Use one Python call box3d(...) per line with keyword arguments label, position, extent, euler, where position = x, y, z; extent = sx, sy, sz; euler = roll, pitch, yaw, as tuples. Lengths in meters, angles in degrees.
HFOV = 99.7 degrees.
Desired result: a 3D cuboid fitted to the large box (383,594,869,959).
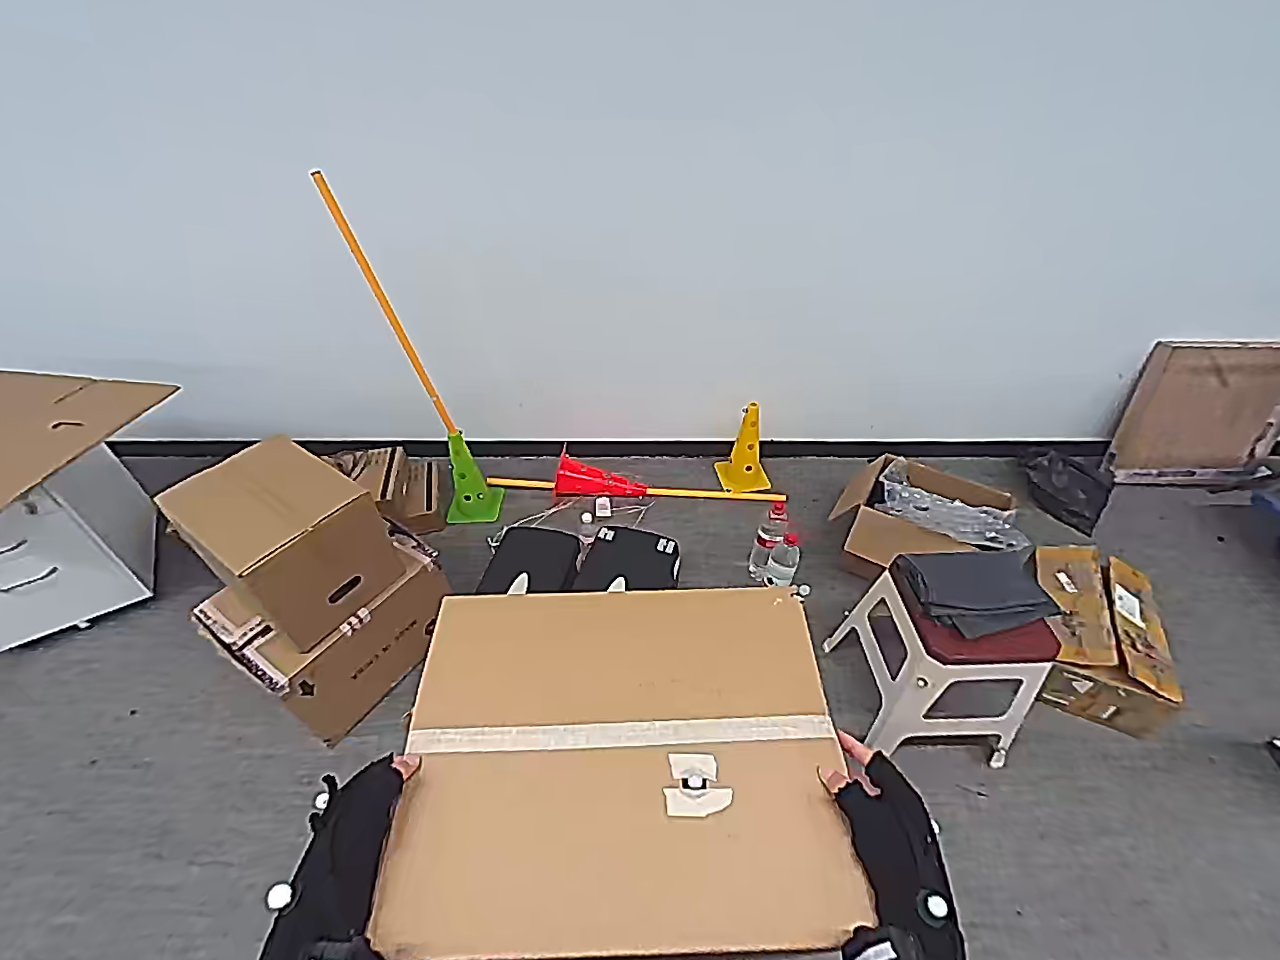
box3d(label="large box", position=(-0.016, 0.355, 0.643), extent=(0.408, 0.320, 0.320), euler=(-1, 48, -1))
